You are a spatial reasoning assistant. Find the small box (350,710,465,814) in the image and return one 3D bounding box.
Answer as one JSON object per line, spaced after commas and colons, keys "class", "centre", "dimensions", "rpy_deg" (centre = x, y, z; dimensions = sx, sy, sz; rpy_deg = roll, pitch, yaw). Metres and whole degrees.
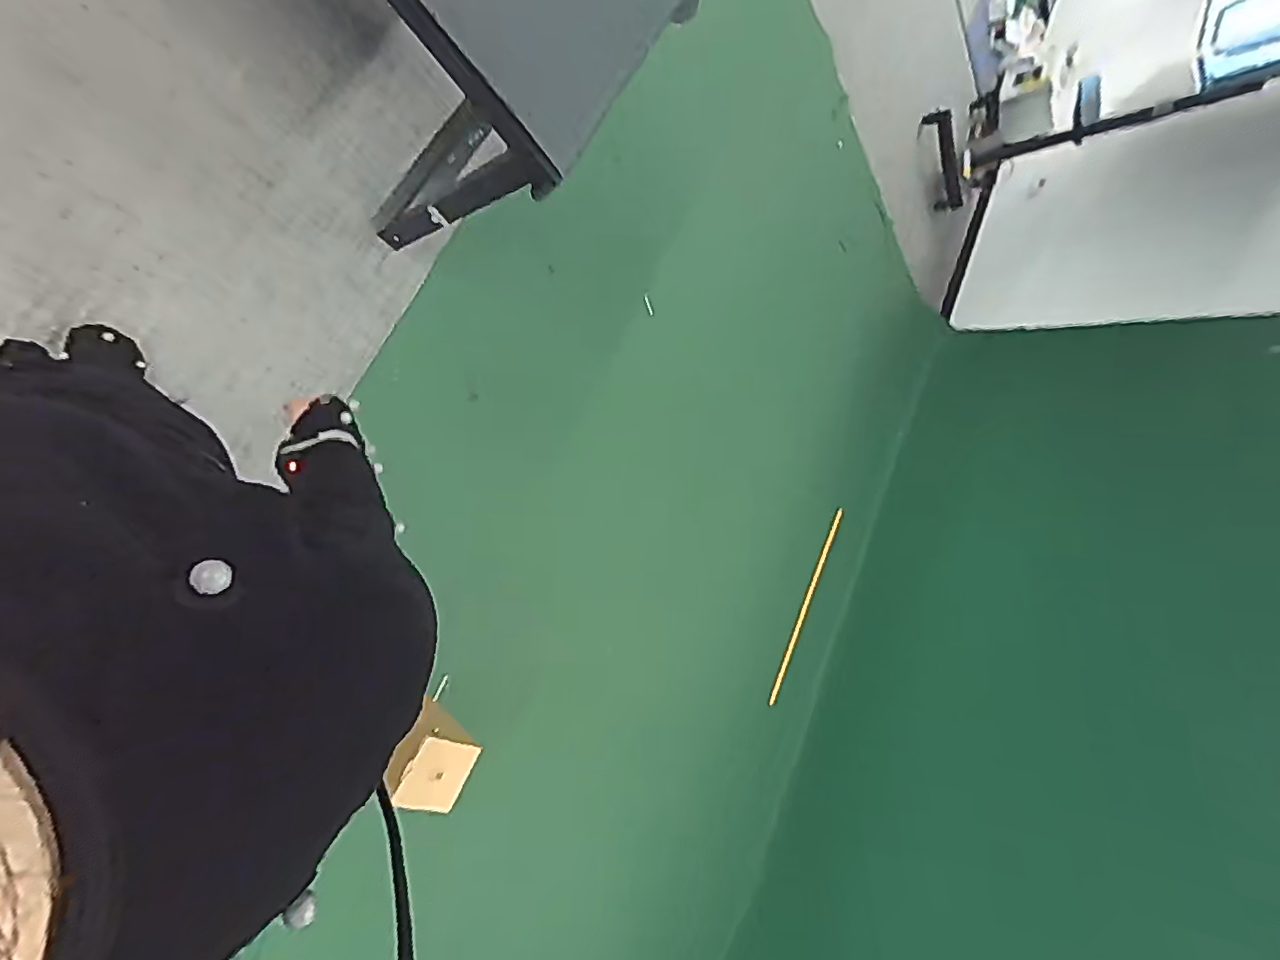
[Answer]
{"class": "small box", "centre": [-0.584, 0.704, 1.359], "dimensions": [0.179, 0.176, 0.168], "rpy_deg": [41, 69, -41]}
